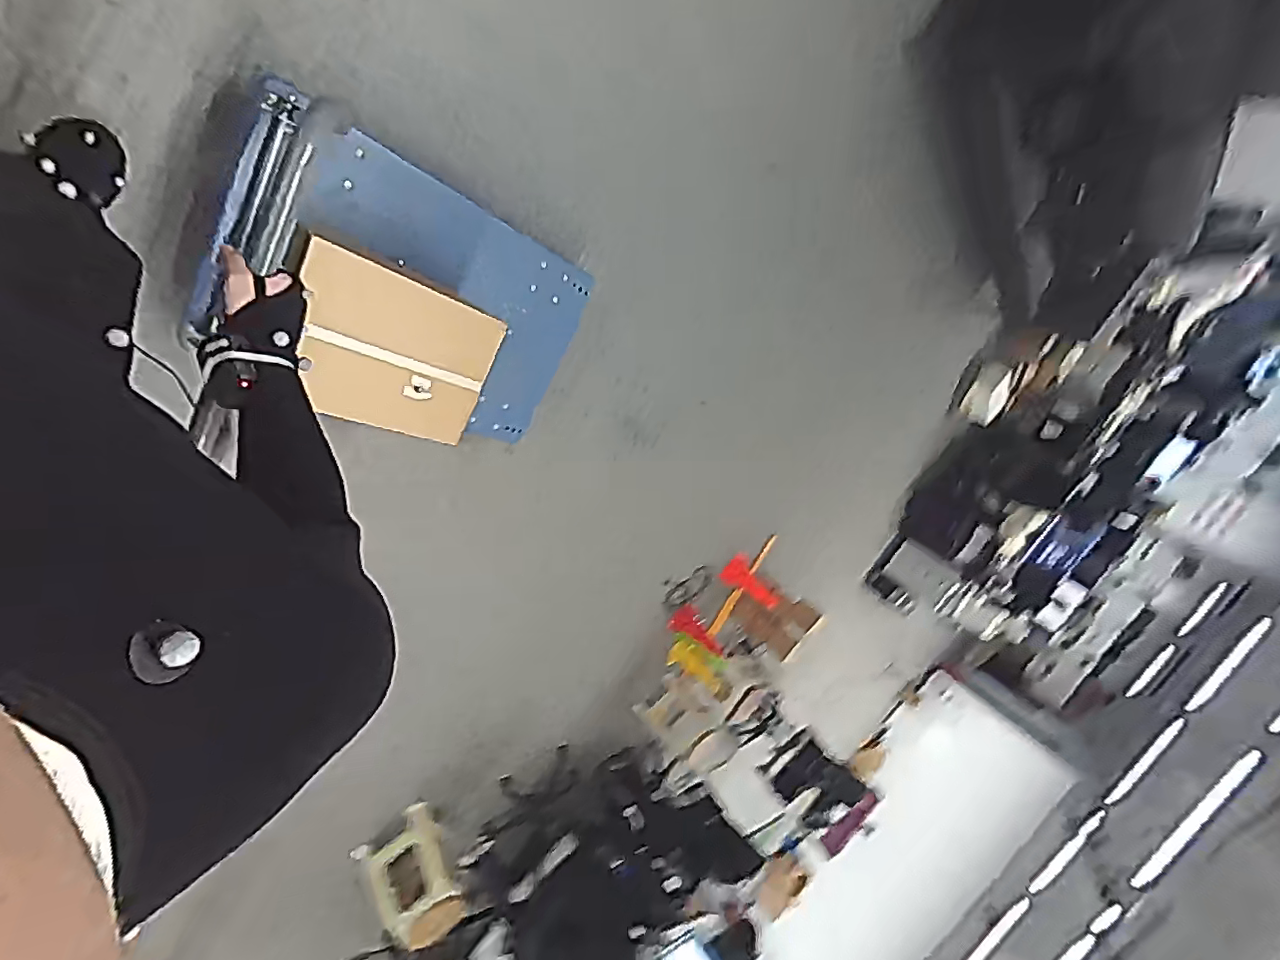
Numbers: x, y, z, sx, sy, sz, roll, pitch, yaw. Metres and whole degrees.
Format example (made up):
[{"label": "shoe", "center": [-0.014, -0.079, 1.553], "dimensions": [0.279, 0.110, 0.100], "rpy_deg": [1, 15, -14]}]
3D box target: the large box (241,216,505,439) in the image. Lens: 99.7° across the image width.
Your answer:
[{"label": "large box", "center": [-0.594, -0.327, 1.205], "dimensions": [0.408, 0.320, 0.320], "rpy_deg": [15, 108, -48]}]
